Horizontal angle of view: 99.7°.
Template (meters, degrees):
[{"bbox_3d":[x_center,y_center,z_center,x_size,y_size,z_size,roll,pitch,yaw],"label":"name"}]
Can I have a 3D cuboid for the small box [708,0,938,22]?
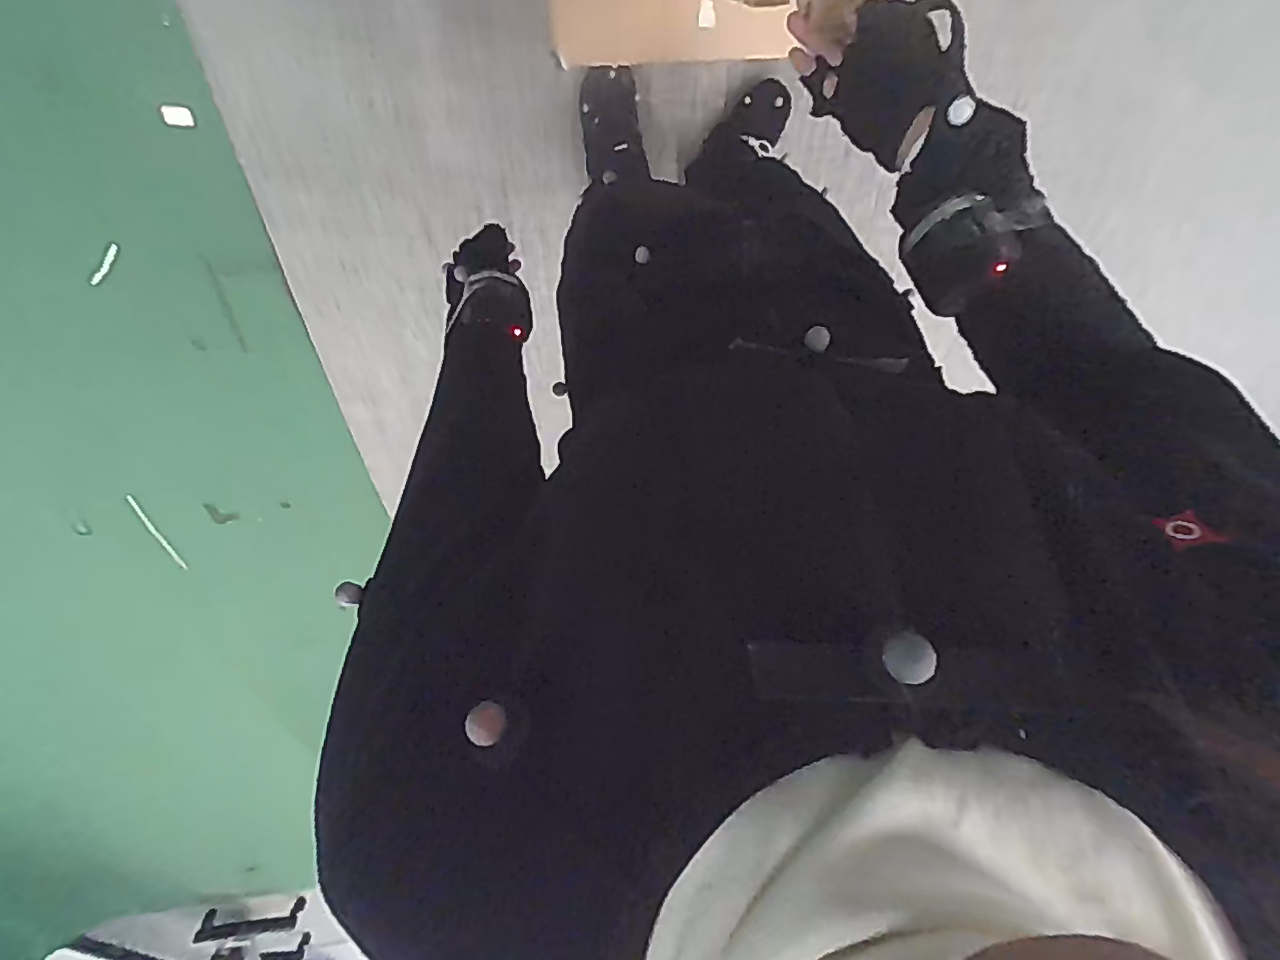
[{"bbox_3d":[0.130,-0.459,0.389,0.168,0.176,0.179,-7,136,-2],"label":"small box"}]
